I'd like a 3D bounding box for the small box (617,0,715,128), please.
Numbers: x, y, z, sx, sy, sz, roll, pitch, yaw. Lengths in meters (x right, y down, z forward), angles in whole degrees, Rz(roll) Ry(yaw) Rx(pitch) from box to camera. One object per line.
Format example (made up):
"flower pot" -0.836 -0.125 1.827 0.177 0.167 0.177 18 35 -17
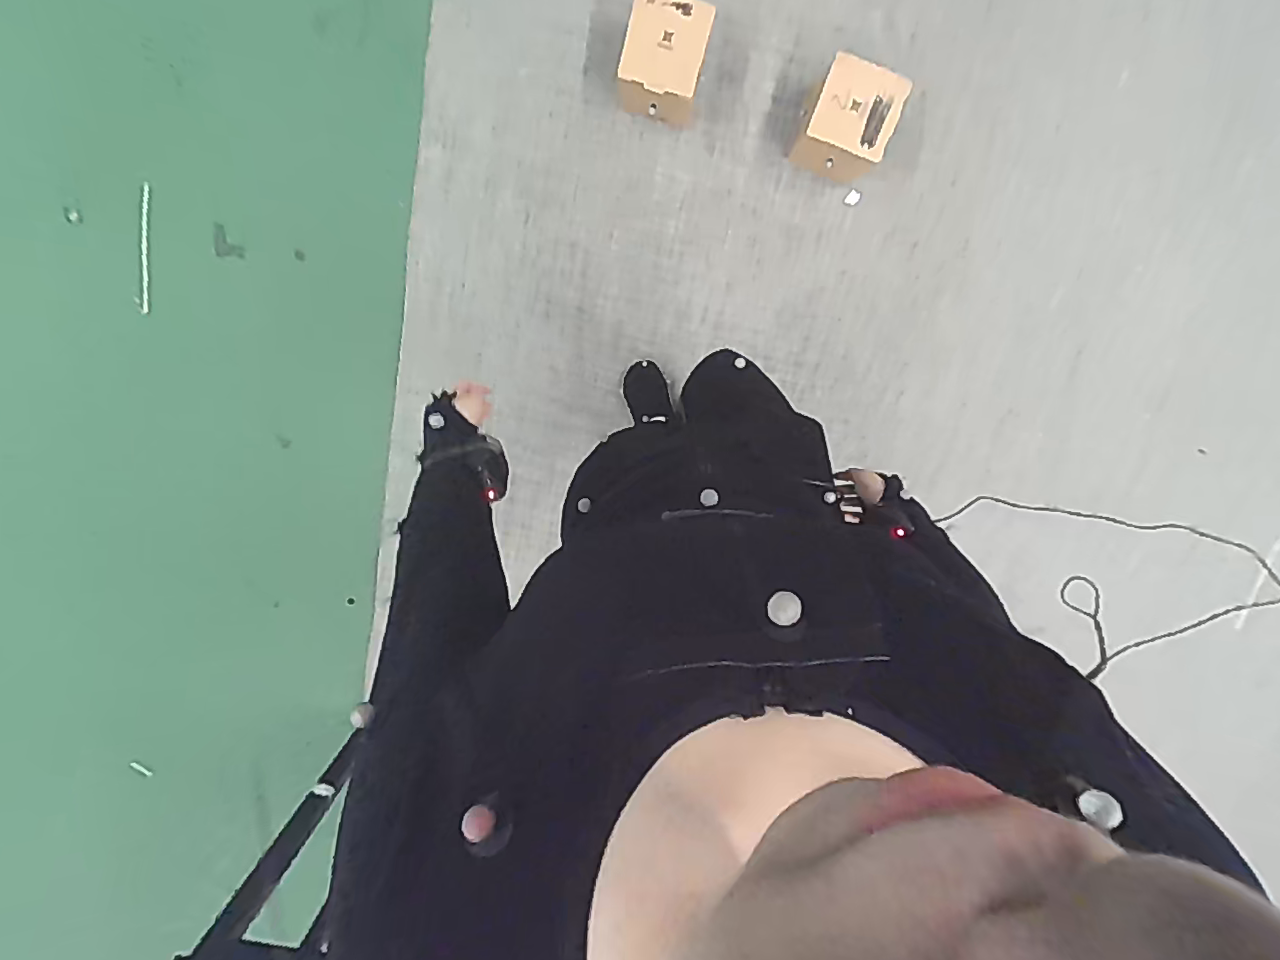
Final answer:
"small box" 0.056 -0.917 1.193 0.168 0.176 0.179 16 105 -4
